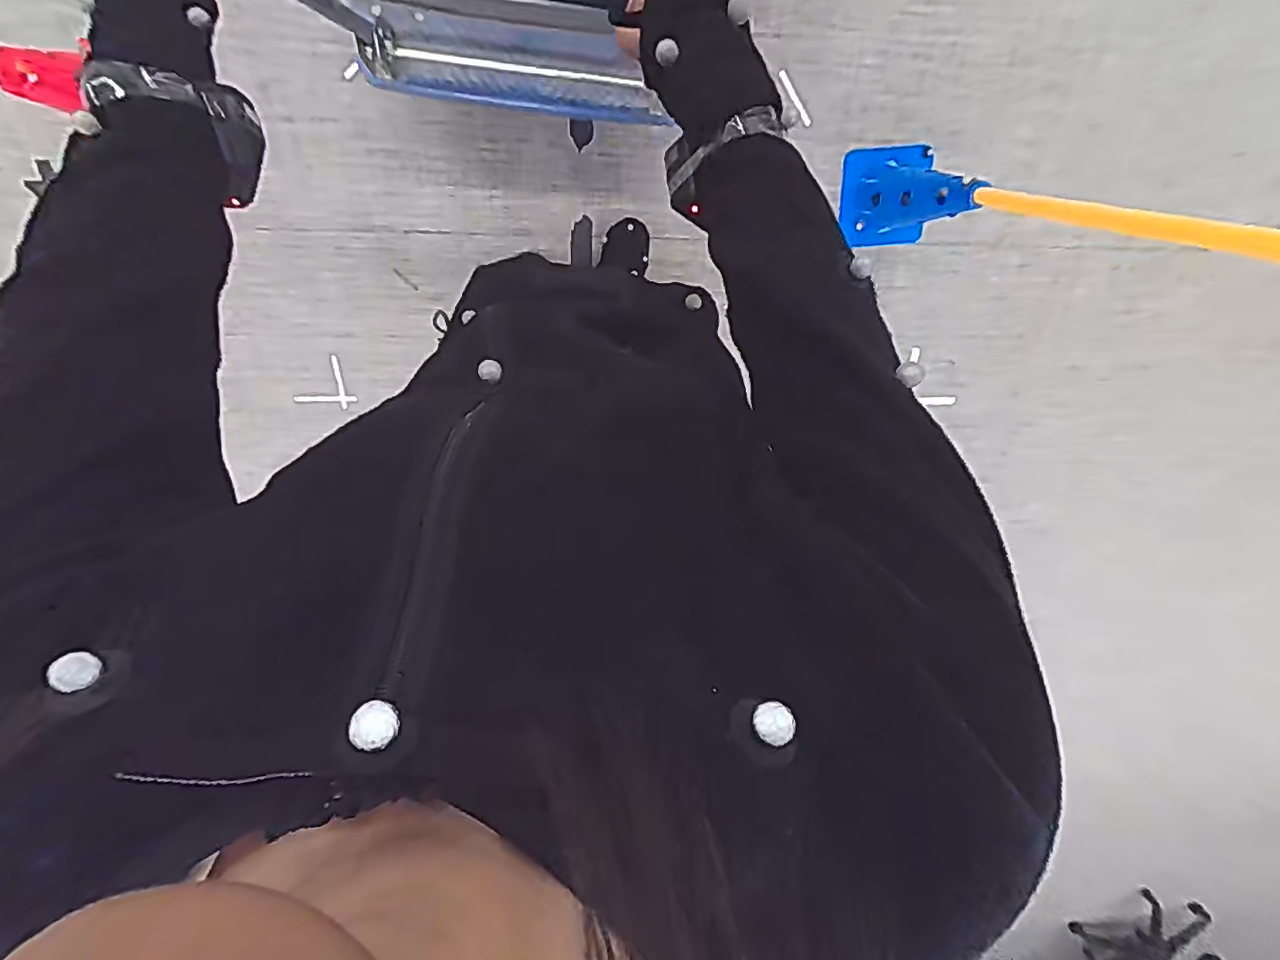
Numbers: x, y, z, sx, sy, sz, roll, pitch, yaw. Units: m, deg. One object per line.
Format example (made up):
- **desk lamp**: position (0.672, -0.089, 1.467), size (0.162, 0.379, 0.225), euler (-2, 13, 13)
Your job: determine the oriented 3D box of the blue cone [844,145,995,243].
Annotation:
- **blue cone**: position (0.568, -0.573, 1.076), size (0.193, 0.380, 0.192), euler (-3, 116, -2)
